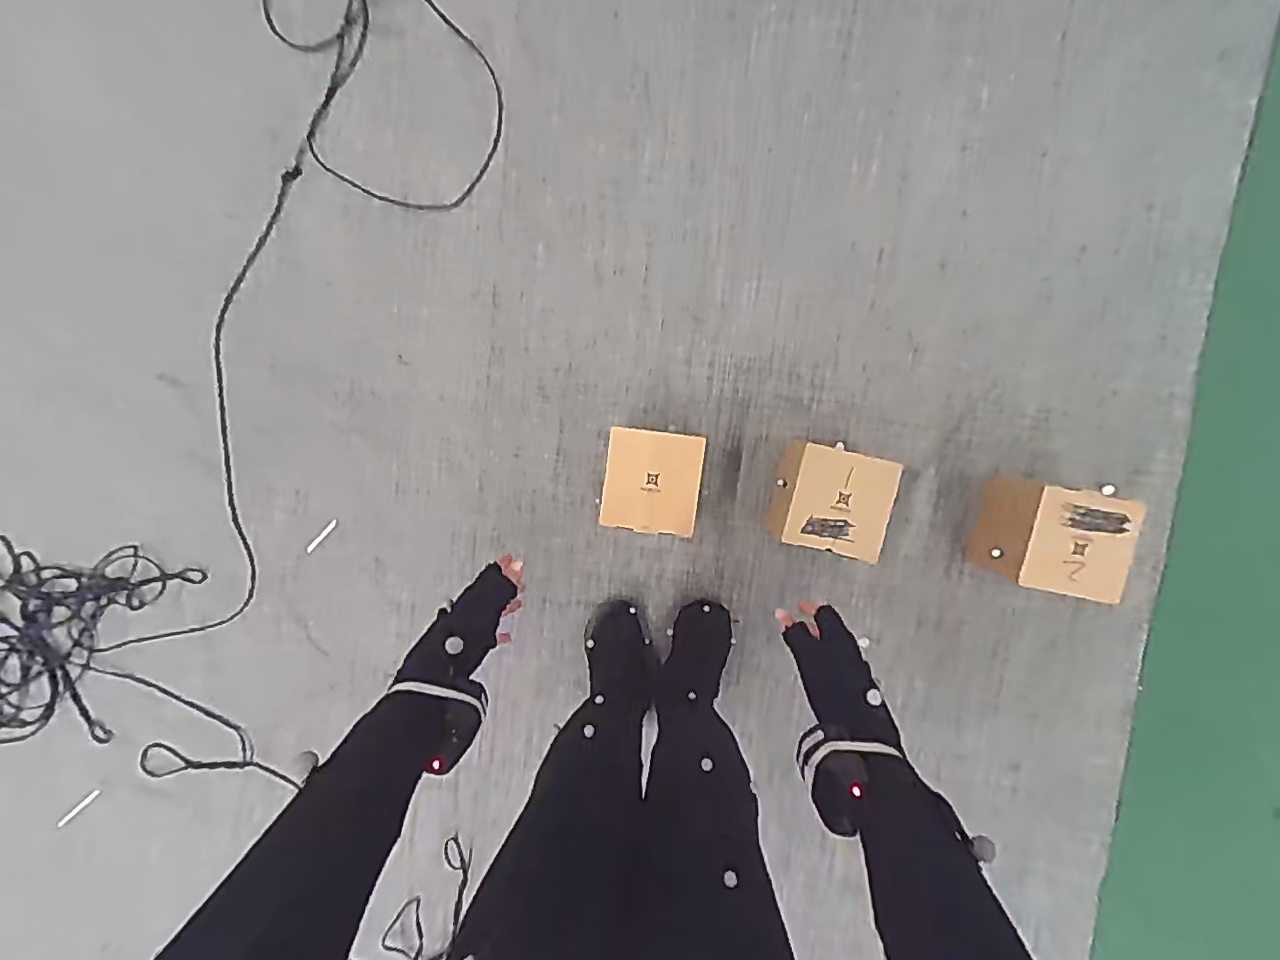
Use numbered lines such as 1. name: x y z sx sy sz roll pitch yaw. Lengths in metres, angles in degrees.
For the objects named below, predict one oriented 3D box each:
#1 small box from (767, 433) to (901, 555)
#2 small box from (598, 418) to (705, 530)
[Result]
1. small box: 0.336 0.018 0.976 0.168 0.176 0.179 13 95 3
2. small box: 0.024 -0.016 0.997 0.168 0.176 0.179 7 96 4
